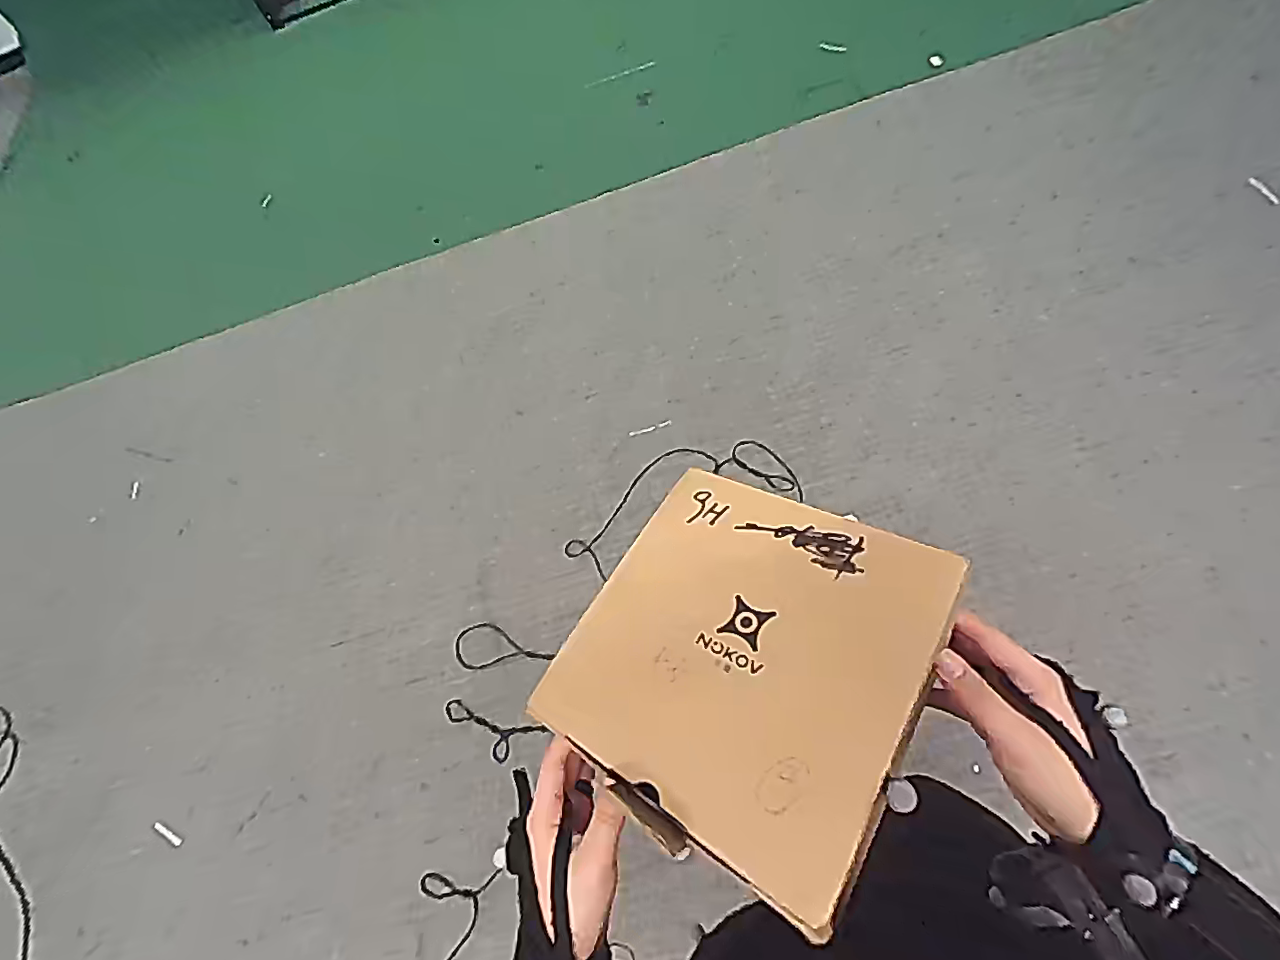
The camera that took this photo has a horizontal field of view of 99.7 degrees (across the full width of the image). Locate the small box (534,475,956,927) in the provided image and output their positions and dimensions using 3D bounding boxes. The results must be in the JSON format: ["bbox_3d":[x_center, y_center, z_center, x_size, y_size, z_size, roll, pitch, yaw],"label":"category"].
[{"bbox_3d":[0.075,0.132,0.340,0.168,0.176,0.179,21,63,34],"label":"small box"}]
